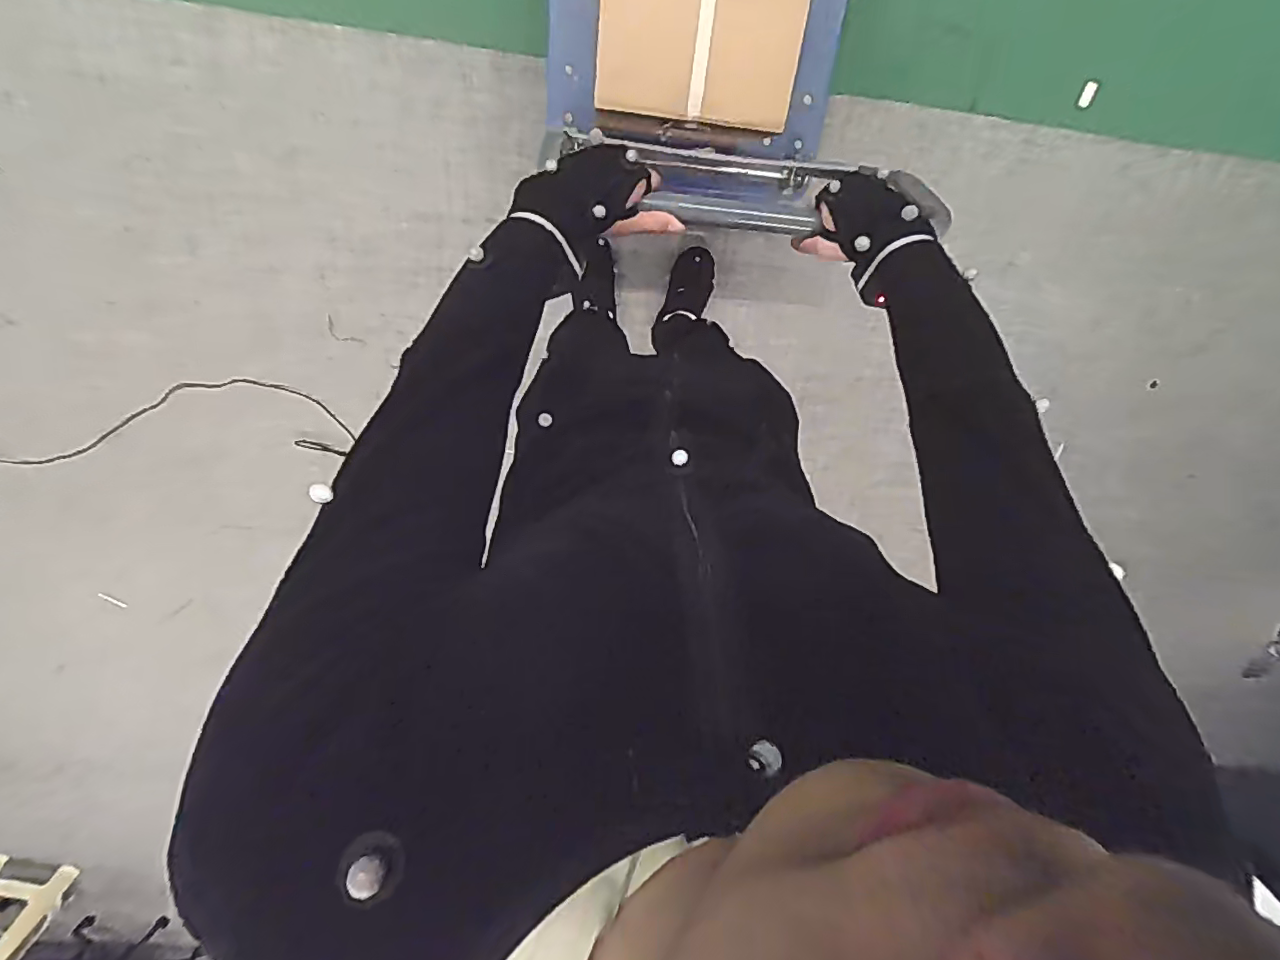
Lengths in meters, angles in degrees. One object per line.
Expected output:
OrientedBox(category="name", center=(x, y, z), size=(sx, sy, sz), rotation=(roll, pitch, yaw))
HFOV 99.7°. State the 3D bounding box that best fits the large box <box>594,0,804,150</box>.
OrientedBox(category="large box", center=(0.089, -0.819, 0.921), size=(0.320, 0.320, 0.408), rotation=(3, 117, -7))
